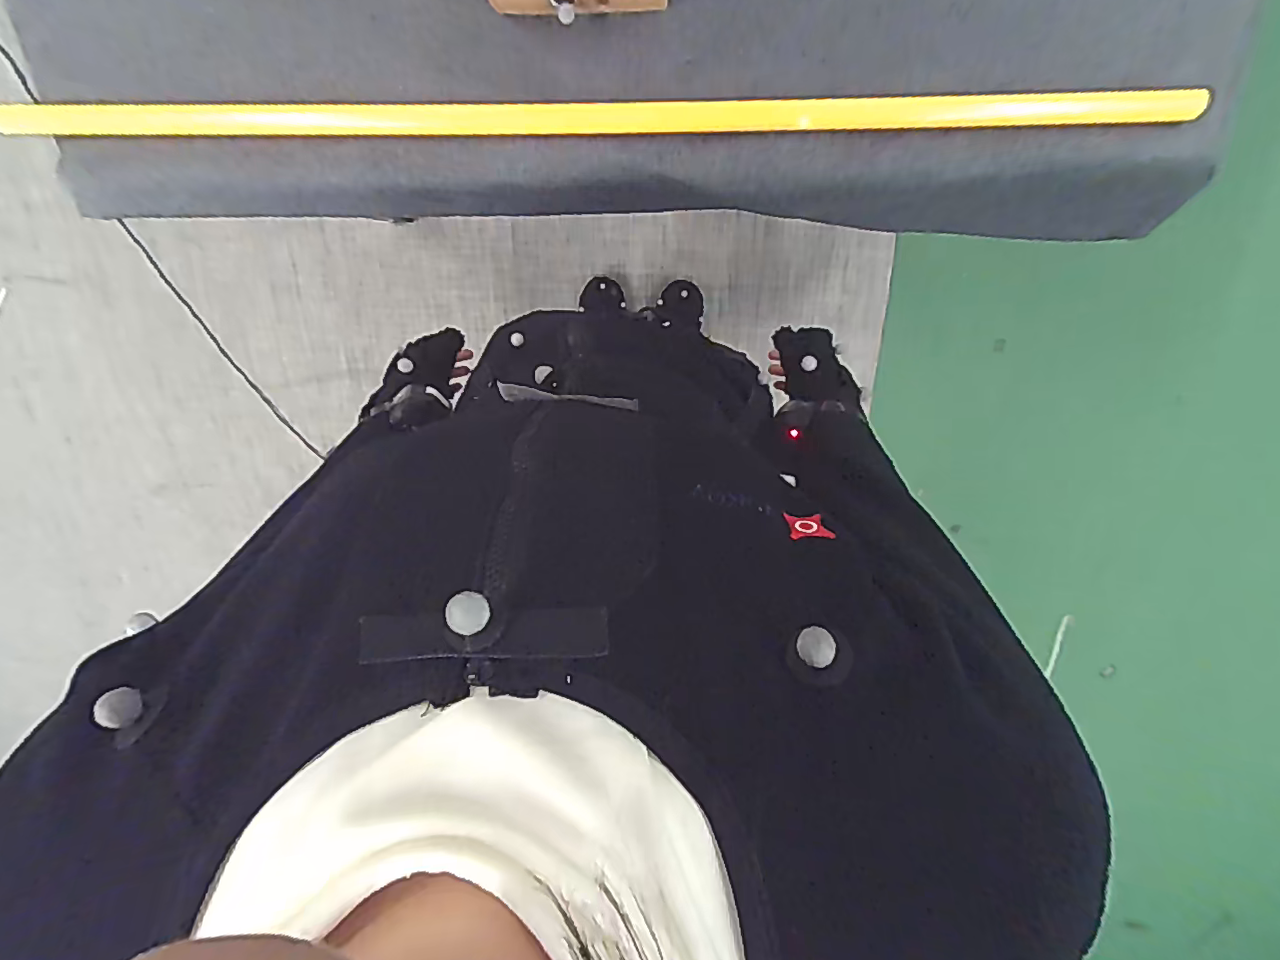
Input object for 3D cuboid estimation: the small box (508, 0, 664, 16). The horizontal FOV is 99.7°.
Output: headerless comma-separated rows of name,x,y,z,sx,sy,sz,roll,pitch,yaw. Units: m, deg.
small box,-0.059,-0.509,0.422,0.168,0.176,0.179,0,112,4
